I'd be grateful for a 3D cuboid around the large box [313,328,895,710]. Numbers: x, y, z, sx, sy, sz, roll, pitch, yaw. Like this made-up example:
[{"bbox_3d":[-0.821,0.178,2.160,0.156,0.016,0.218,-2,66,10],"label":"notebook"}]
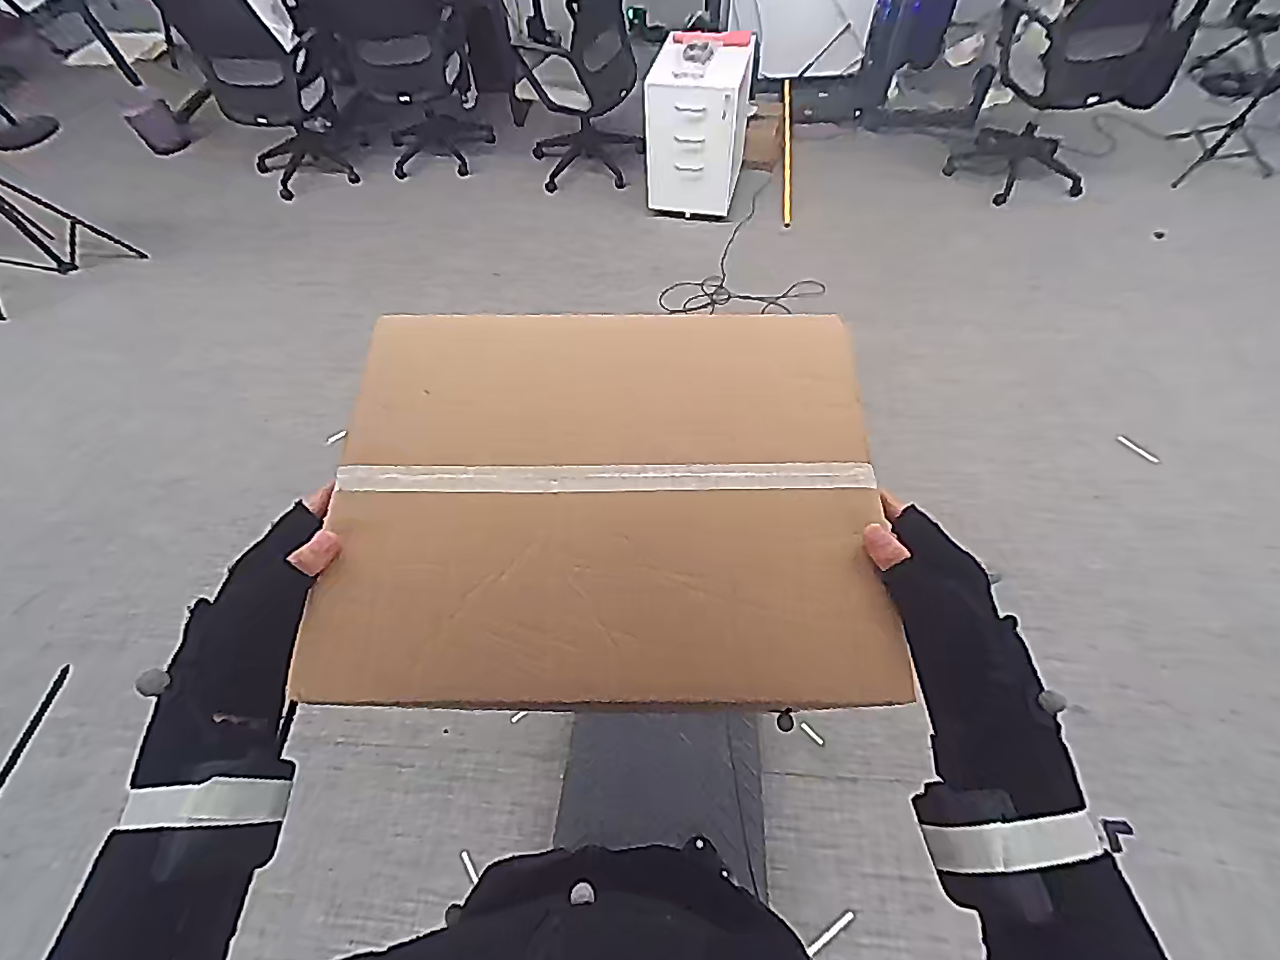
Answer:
[{"bbox_3d":[-0.023,0.067,0.558,0.408,0.320,0.320,0,66,1],"label":"large box"}]
